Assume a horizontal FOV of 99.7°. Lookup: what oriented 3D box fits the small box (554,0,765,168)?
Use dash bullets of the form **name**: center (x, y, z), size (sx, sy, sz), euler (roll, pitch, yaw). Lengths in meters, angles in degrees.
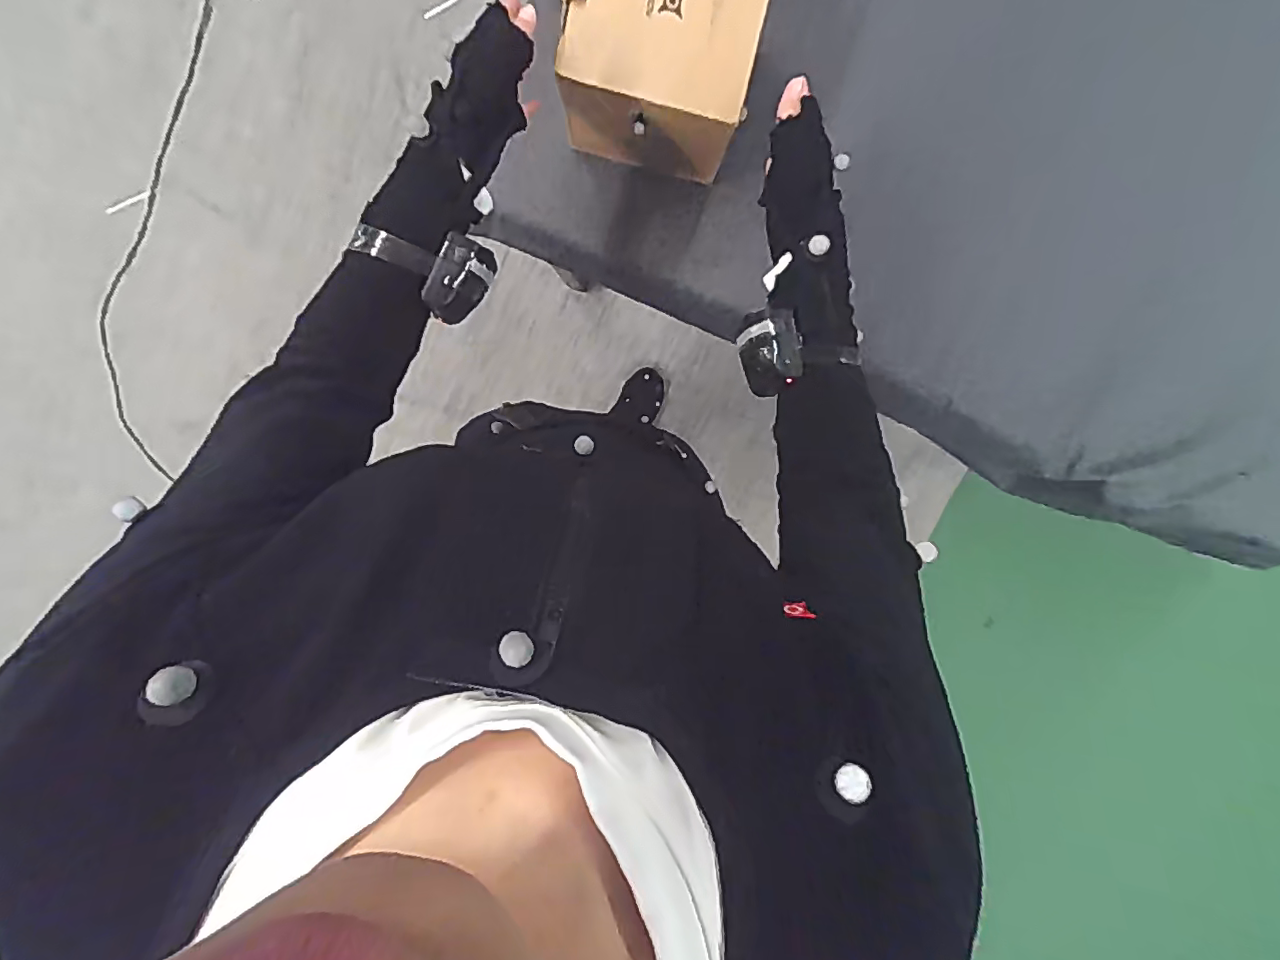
- **small box**: center (0.021, -0.450, 0.556), size (0.179, 0.176, 0.168), euler (12, 102, -5)
